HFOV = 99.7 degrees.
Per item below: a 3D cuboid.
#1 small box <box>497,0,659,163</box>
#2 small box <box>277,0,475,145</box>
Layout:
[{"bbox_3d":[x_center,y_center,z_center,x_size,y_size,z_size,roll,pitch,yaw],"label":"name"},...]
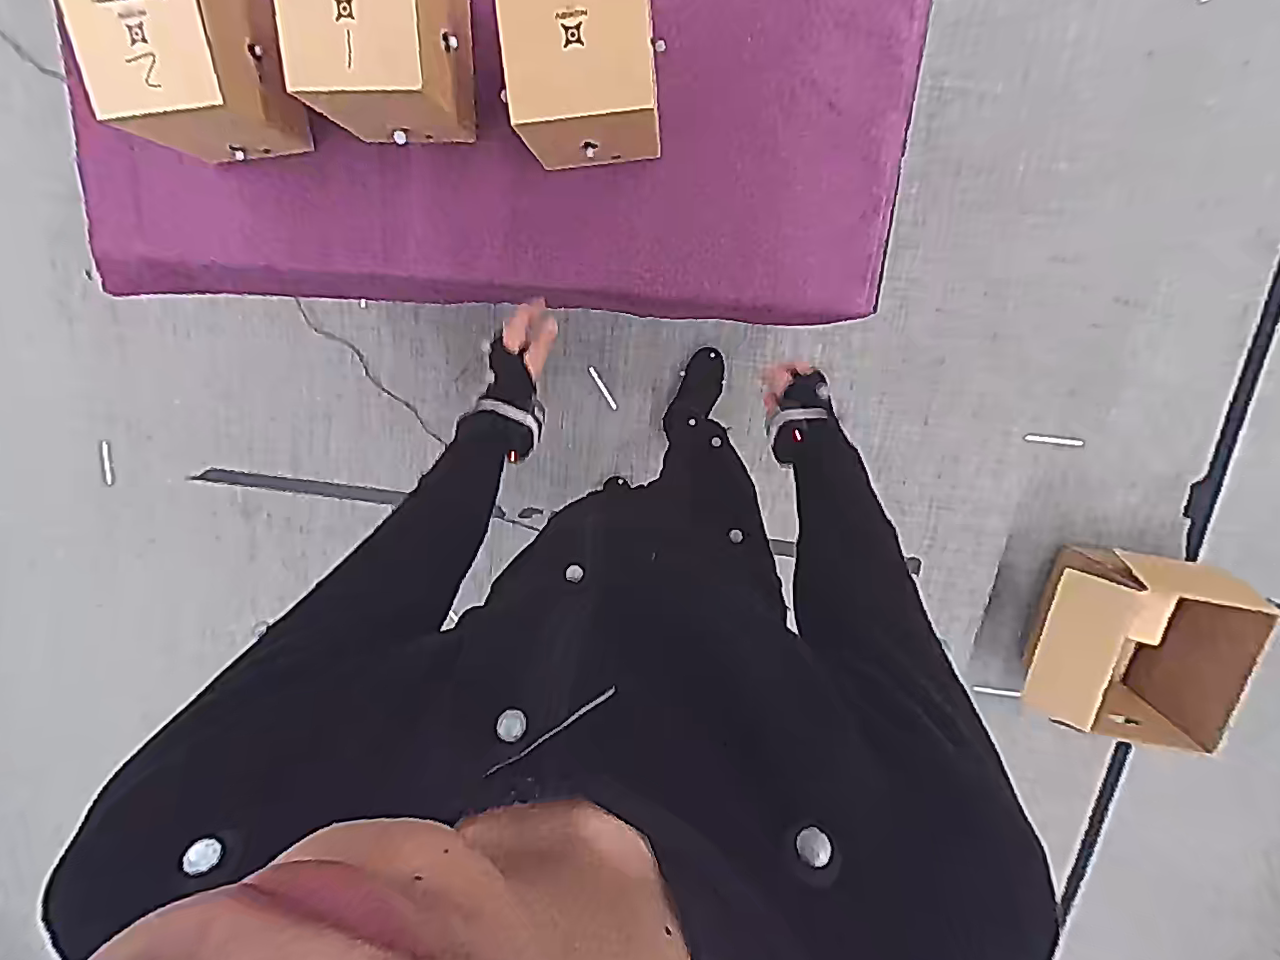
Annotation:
[{"bbox_3d":[-0.066,-0.510,0.665,0.168,0.176,0.179,-3,103,5],"label":"small box"},{"bbox_3d":[-0.317,-0.547,0.675,0.168,0.176,0.179,2,105,4],"label":"small box"}]
